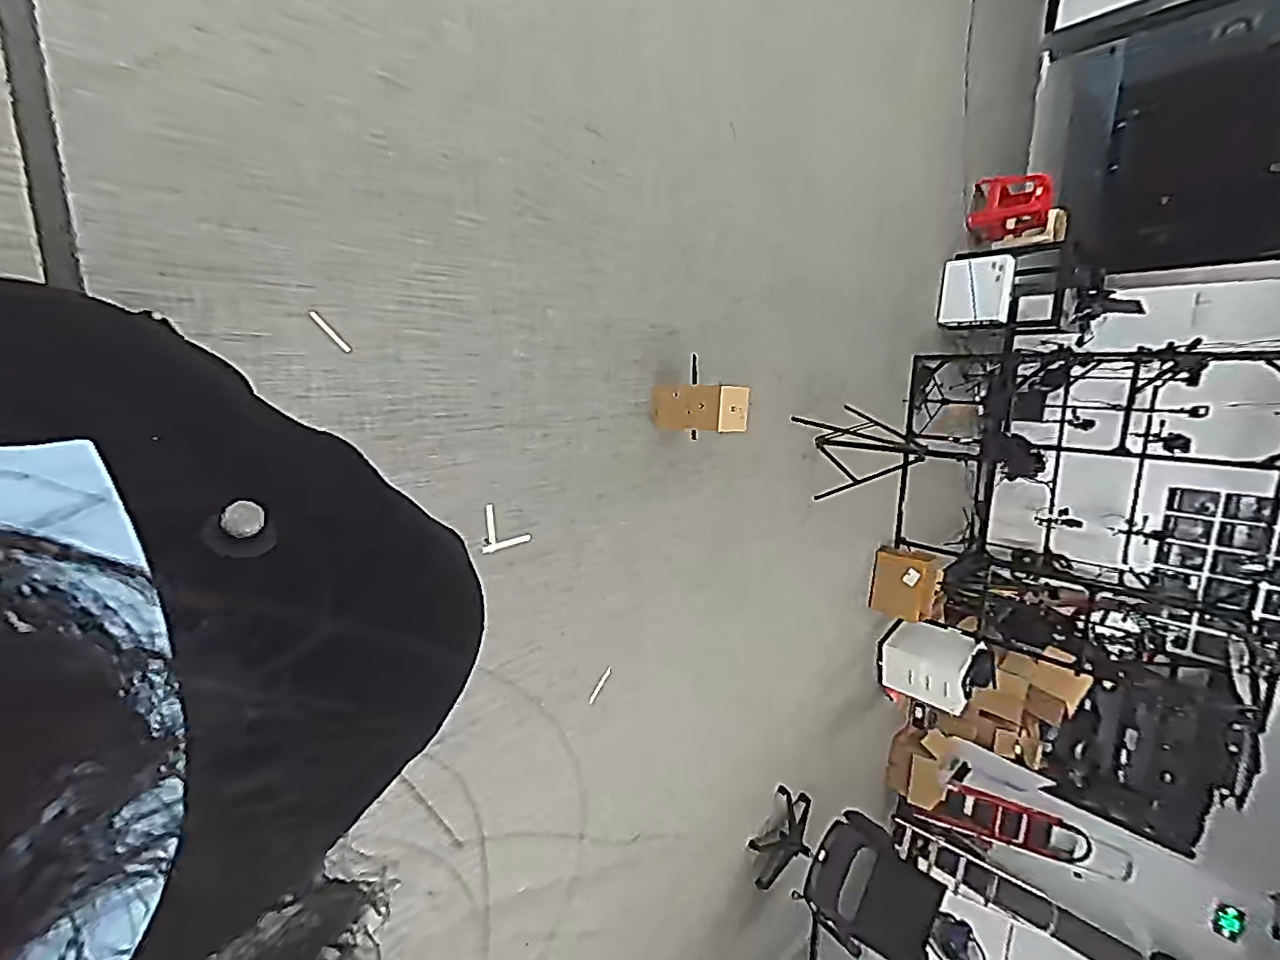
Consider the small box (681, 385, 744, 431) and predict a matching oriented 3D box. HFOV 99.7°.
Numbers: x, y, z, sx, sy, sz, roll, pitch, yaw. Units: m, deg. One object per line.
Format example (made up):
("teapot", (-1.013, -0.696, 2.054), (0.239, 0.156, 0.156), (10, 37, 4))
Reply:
("small box", (0.271, -0.272, 2.041), (0.179, 0.176, 0.168), (-6, 103, -45))
